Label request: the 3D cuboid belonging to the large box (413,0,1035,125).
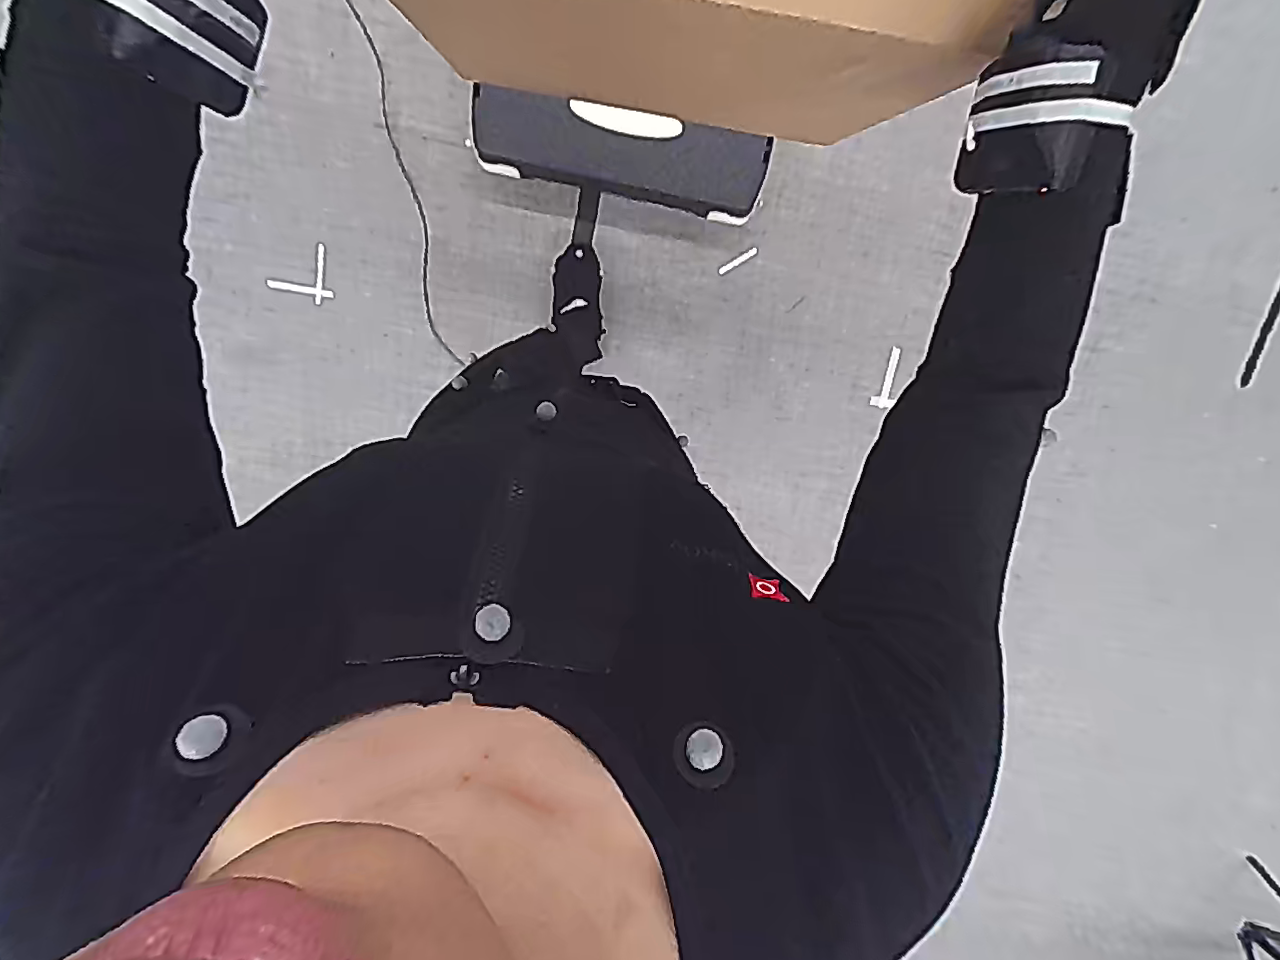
[{"bbox_3d":[0.041,-0.481,0.377,0.408,0.320,0.320,5,114,-6],"label":"large box"}]
